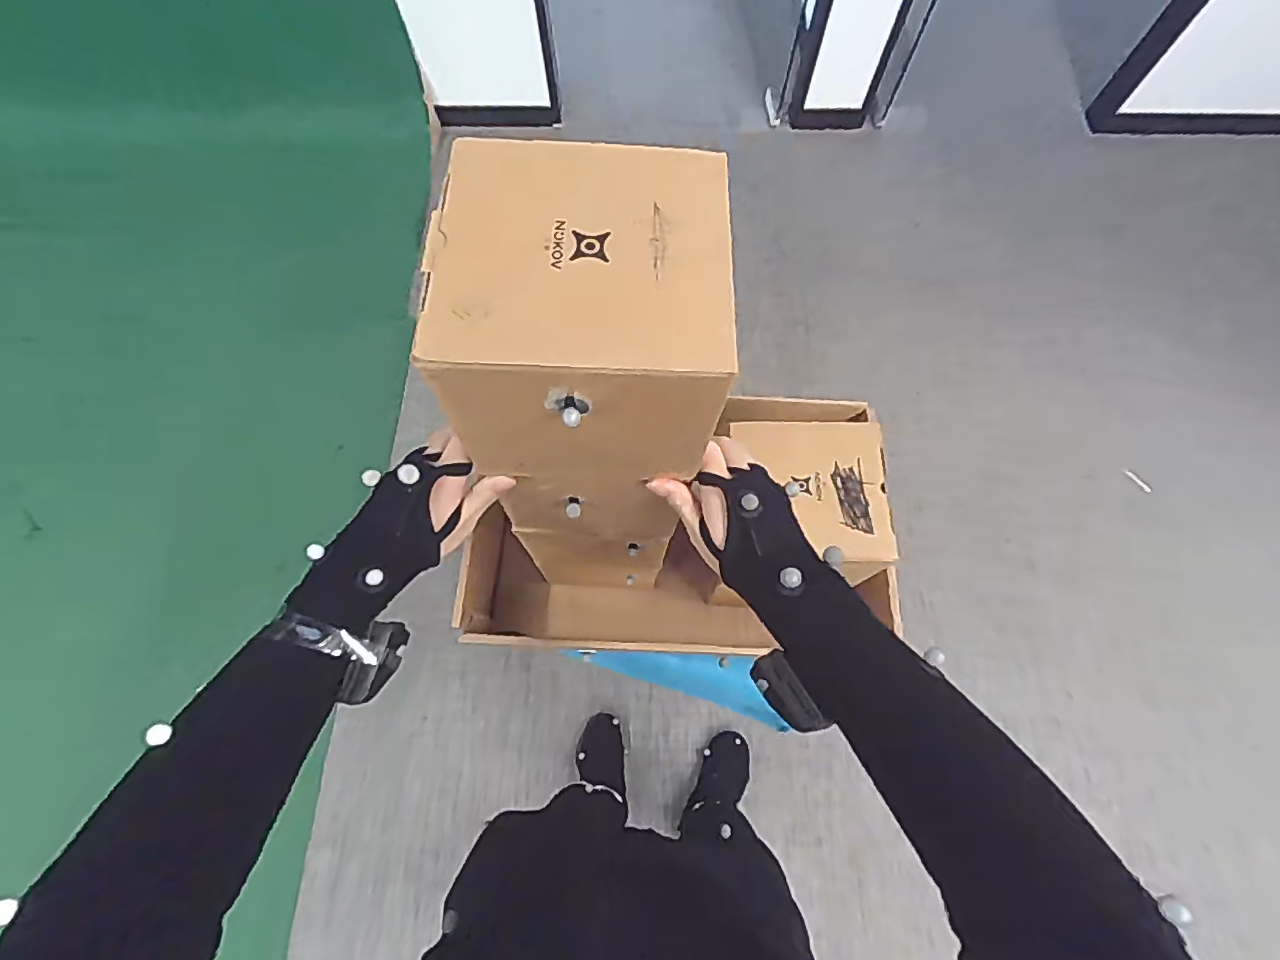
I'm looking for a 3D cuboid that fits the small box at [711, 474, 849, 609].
[{"bbox_3d":[0.199,0.099,0.822,0.179,0.176,0.168,2,68,4],"label":"small box"}]

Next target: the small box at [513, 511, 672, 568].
[{"bbox_3d":[-0.051,0.012,0.689,0.179,0.176,0.168,3,68,-2],"label":"small box"}]

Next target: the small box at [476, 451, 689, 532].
[{"bbox_3d":[-0.043,-0.051,0.539,0.179,0.176,0.168,4,69,0],"label":"small box"}]

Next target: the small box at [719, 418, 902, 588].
[{"bbox_3d":[0.194,0.035,0.671,0.179,0.176,0.168,1,67,4],"label":"small box"}]

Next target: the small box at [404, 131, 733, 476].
[{"bbox_3d":[-0.037,-0.109,0.385,0.179,0.176,0.168,3,69,-2],"label":"small box"}]
